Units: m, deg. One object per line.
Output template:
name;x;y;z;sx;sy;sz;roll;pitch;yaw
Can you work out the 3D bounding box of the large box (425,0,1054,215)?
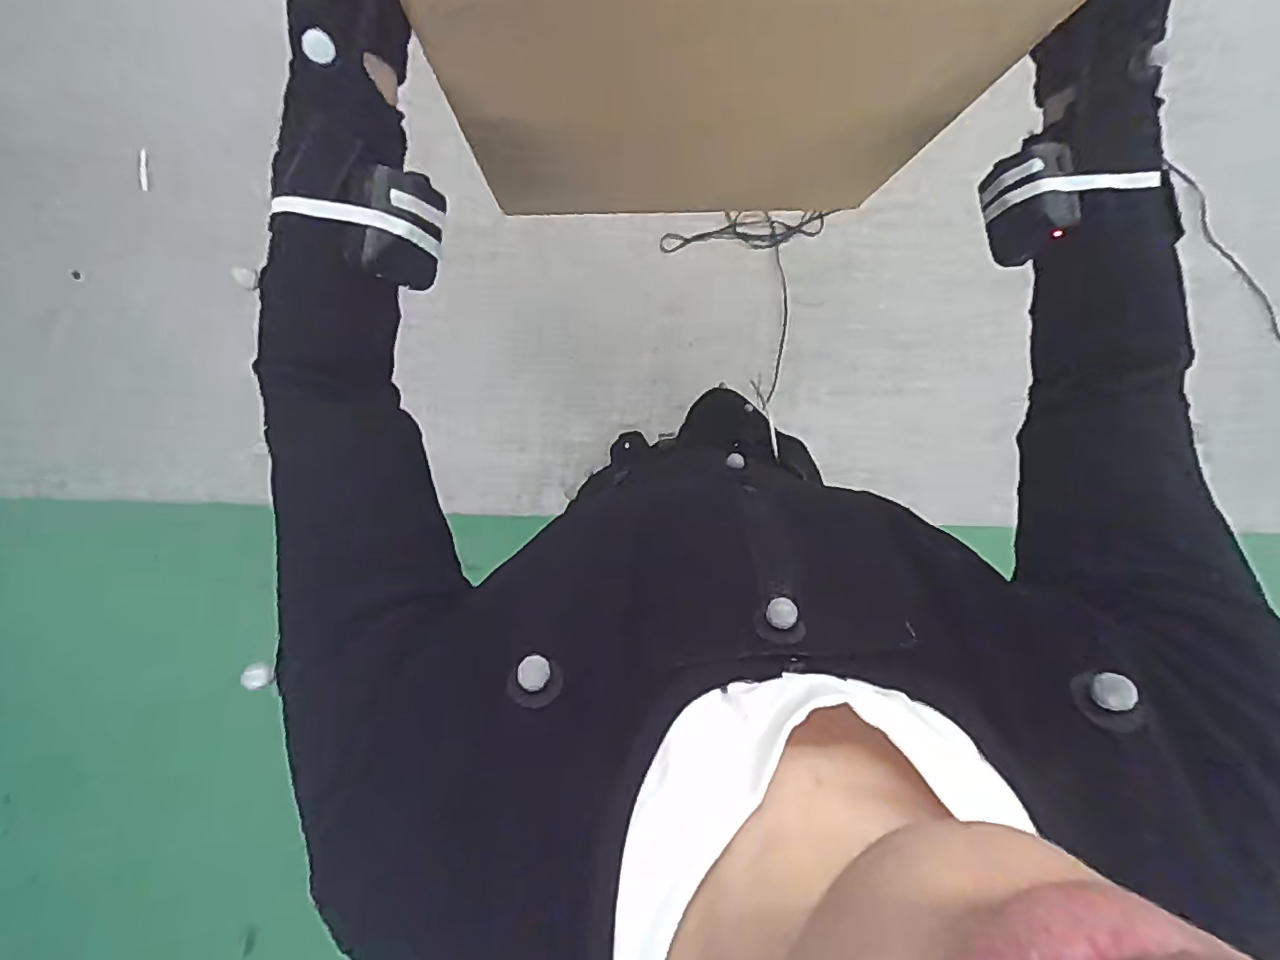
large box;0.048;-0.446;0.452;0.408;0.320;0.320;-3;95;-4
